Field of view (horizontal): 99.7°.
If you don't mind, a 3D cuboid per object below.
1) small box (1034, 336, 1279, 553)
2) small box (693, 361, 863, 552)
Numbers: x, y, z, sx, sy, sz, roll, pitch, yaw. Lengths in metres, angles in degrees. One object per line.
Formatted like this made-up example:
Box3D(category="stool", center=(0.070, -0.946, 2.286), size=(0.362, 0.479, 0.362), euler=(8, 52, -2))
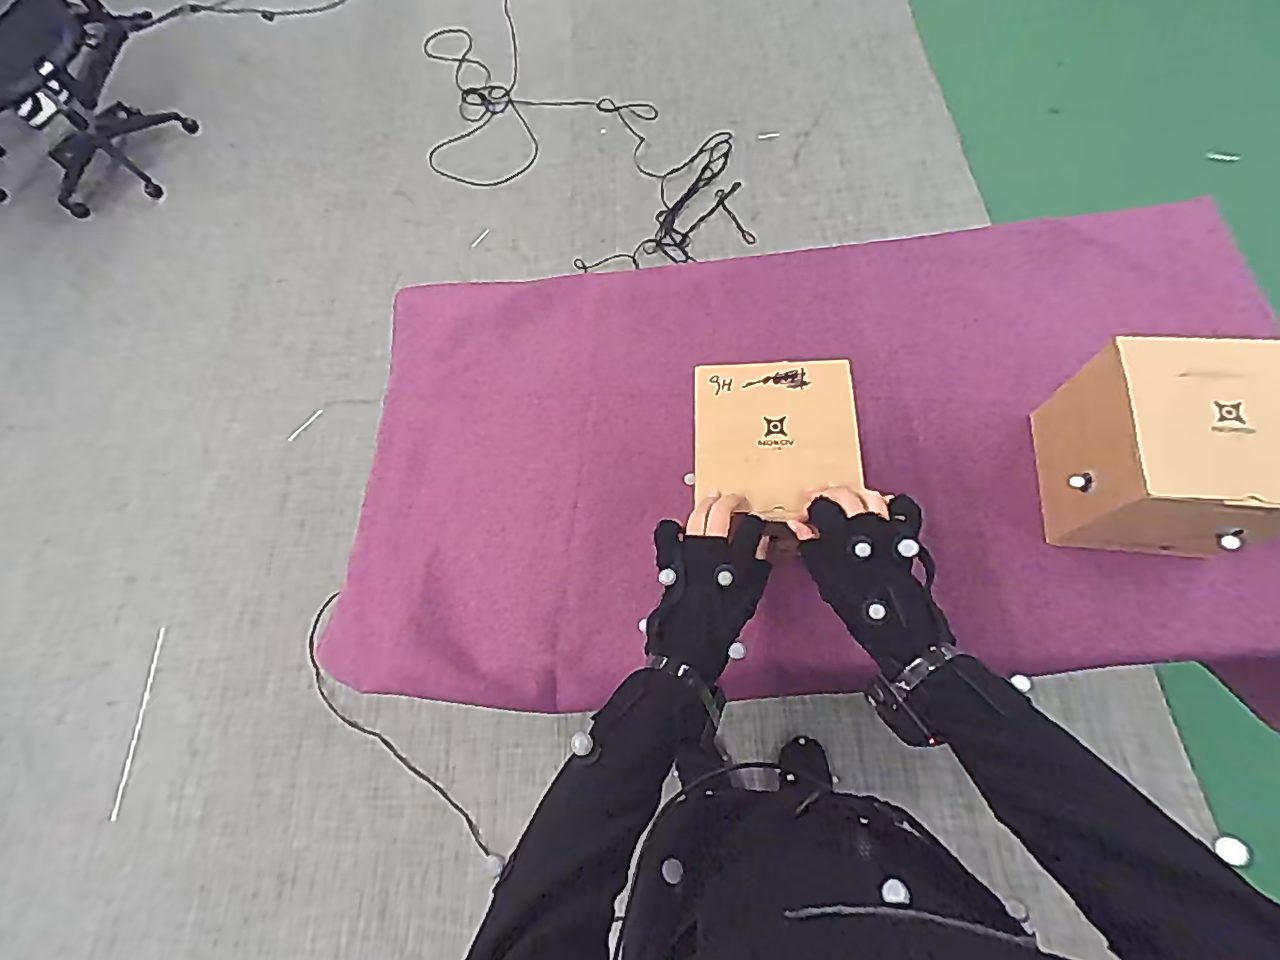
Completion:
Box3D(category="small box", center=(0.555, -0.029, 0.572), size=(0.168, 0.176, 0.179), euler=(5, 69, 11))
Box3D(category="small box", center=(0.150, -0.017, 0.630), size=(0.168, 0.176, 0.179), euler=(0, 69, 8))
